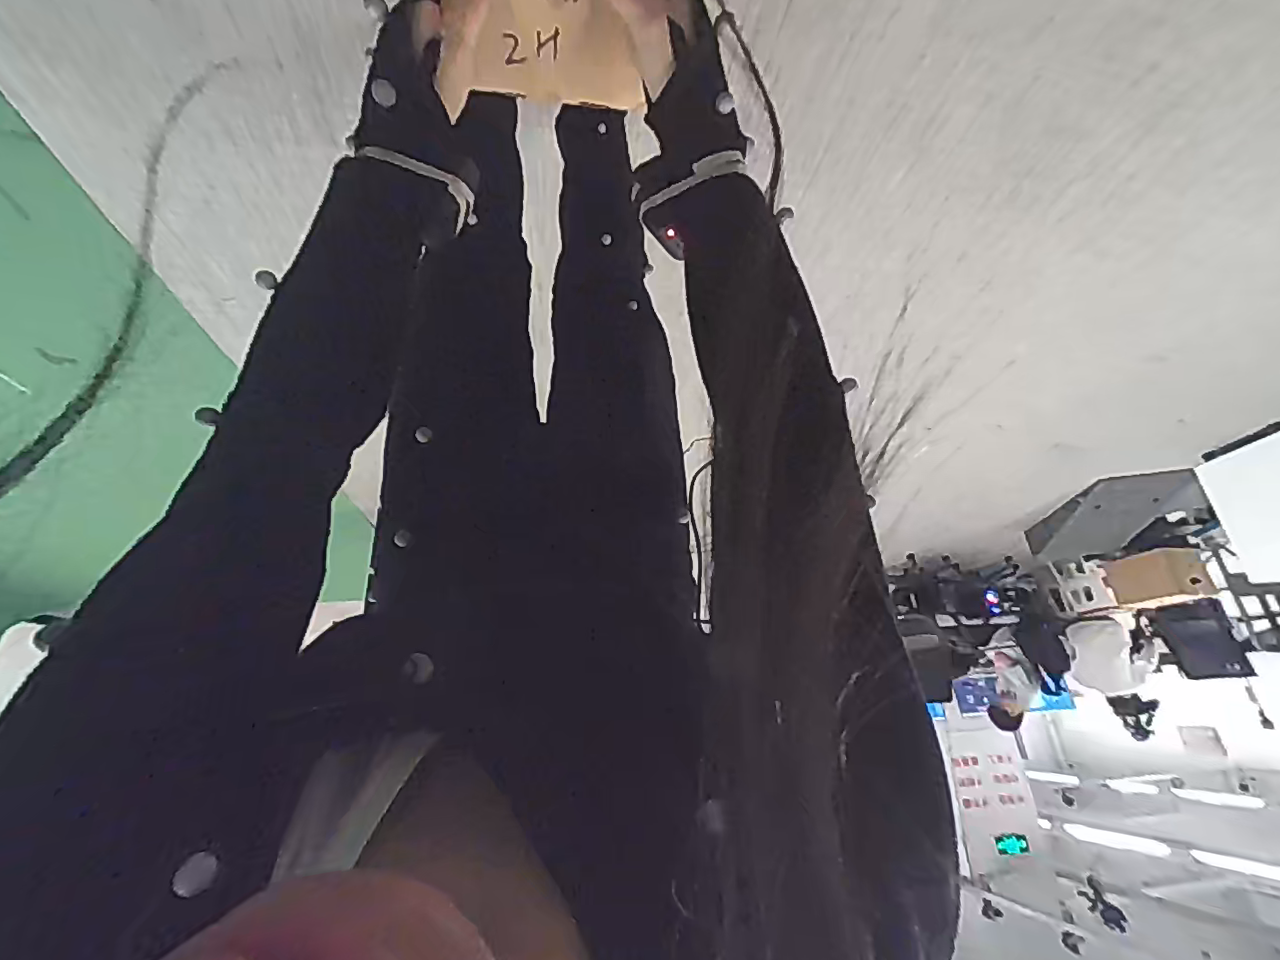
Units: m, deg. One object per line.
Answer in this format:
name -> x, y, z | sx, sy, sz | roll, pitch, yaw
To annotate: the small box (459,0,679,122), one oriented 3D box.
small box -> -0.056, -0.434, 0.429 | 0.168, 0.176, 0.179 | 2, 156, -11
